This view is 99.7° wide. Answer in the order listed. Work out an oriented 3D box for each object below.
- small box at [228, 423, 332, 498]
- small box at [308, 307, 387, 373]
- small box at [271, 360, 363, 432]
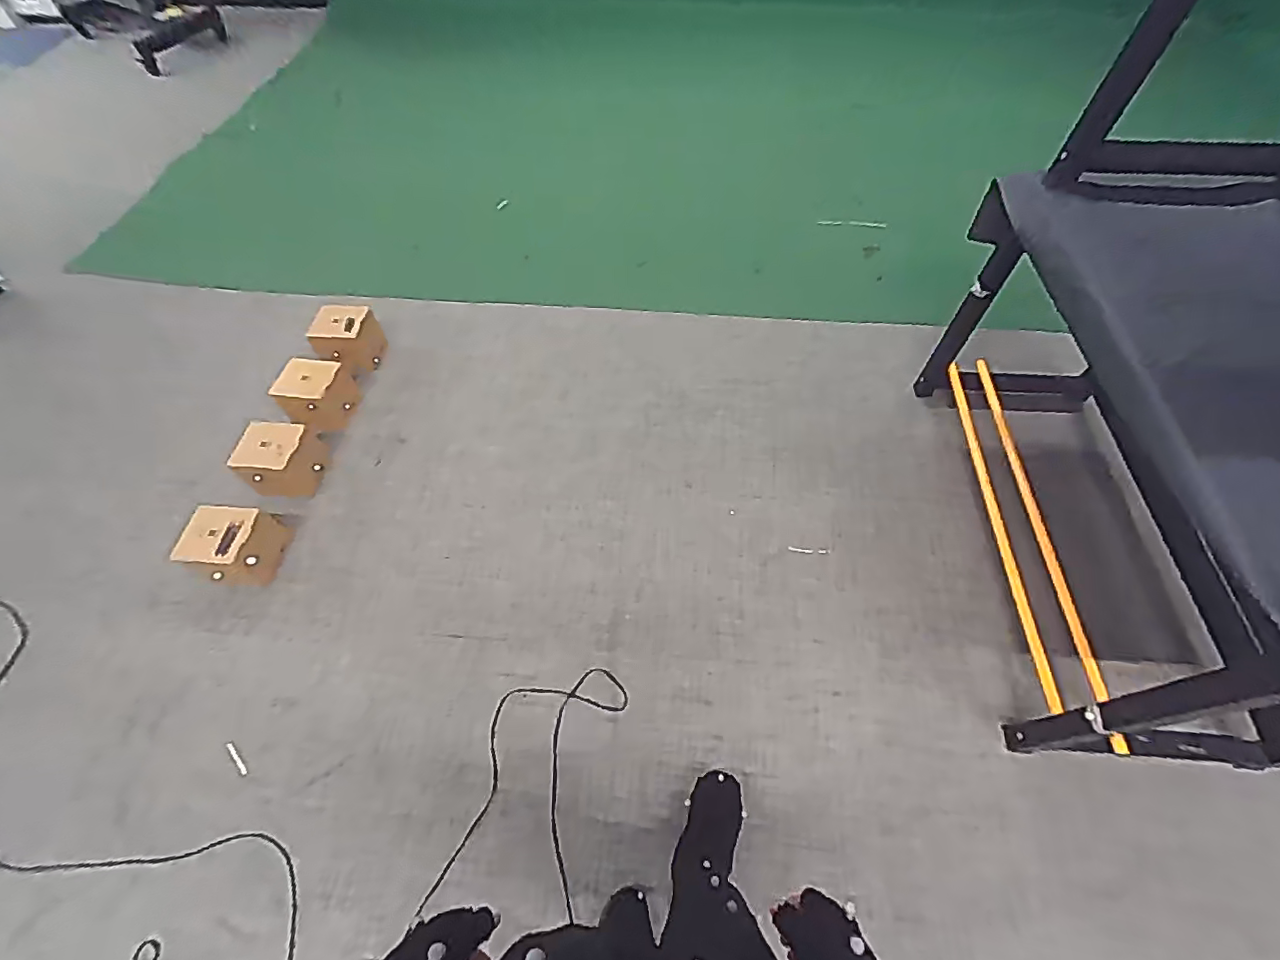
[{"bbox_3d":[-1.096,-0.056,1.663,0.179,0.176,0.168,4,58,2],"label":"small box"},{"bbox_3d":[-1.049,-0.503,1.958,0.179,0.176,0.168,2,57,2],"label":"small box"},{"bbox_3d":[-1.073,-0.278,1.812,0.179,0.176,0.168,5,57,3],"label":"small box"}]
